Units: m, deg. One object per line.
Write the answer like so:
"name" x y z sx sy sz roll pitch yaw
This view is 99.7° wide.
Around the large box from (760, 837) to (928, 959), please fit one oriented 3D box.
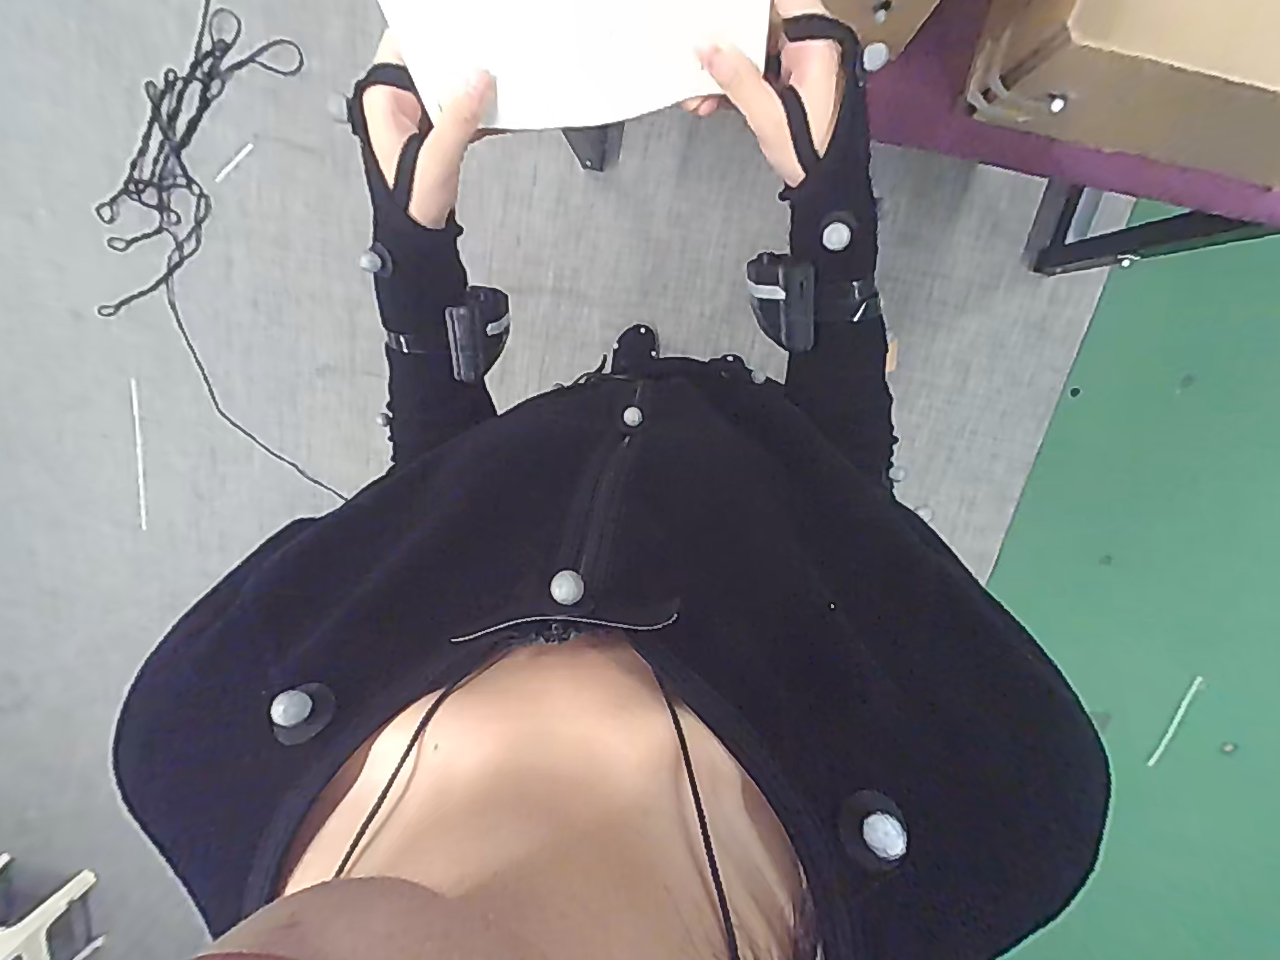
"large box" 0.590 1.340 1.638 0.408 0.320 0.320 -2 104 4
